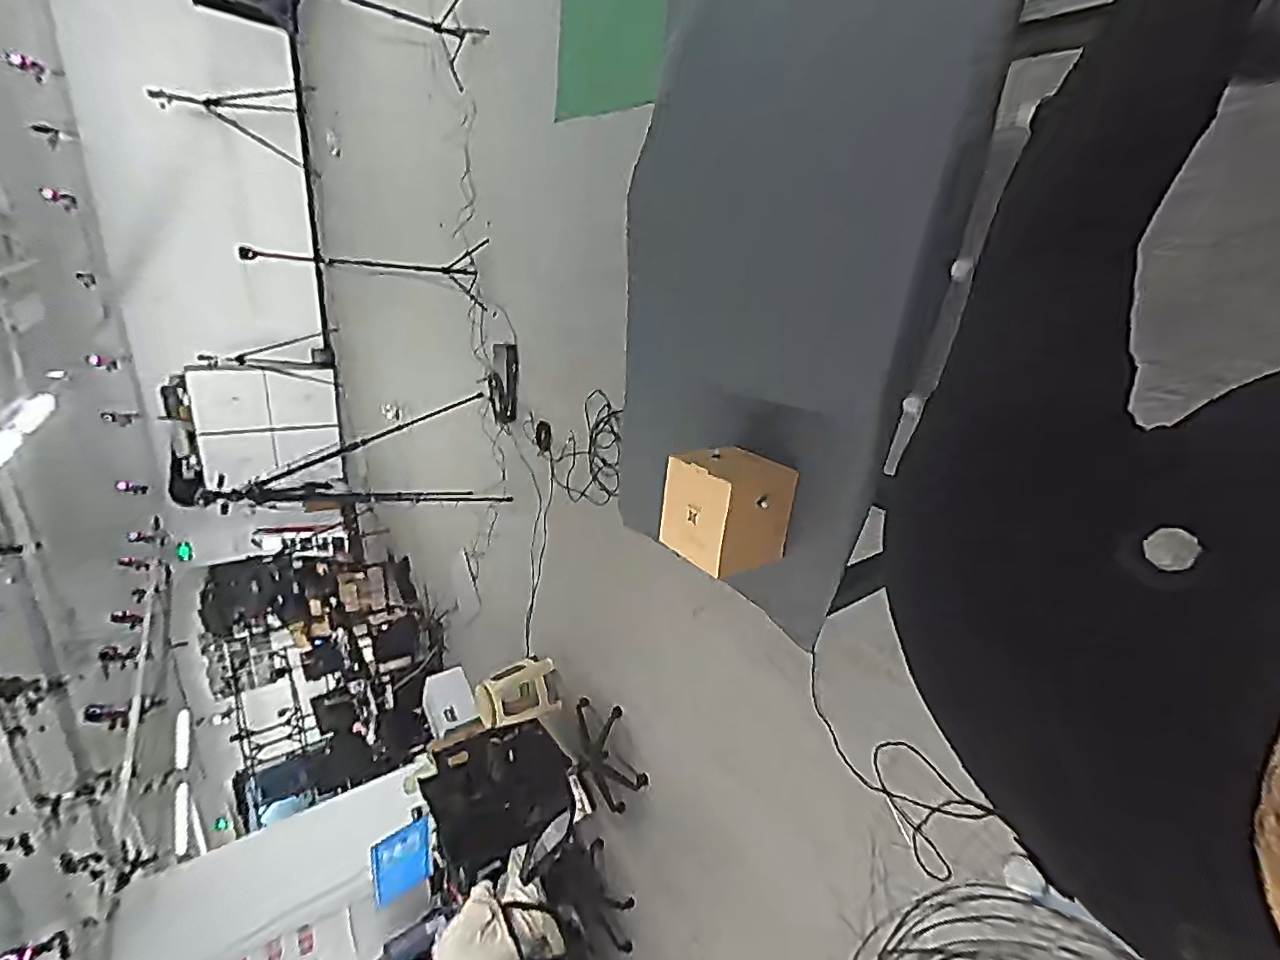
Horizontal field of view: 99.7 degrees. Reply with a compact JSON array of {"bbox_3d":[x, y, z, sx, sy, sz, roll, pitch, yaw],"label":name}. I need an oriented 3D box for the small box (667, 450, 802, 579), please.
[{"bbox_3d":[0.171,0.051,0.984,0.168,0.176,0.179,29,121,50],"label":"small box"}]
